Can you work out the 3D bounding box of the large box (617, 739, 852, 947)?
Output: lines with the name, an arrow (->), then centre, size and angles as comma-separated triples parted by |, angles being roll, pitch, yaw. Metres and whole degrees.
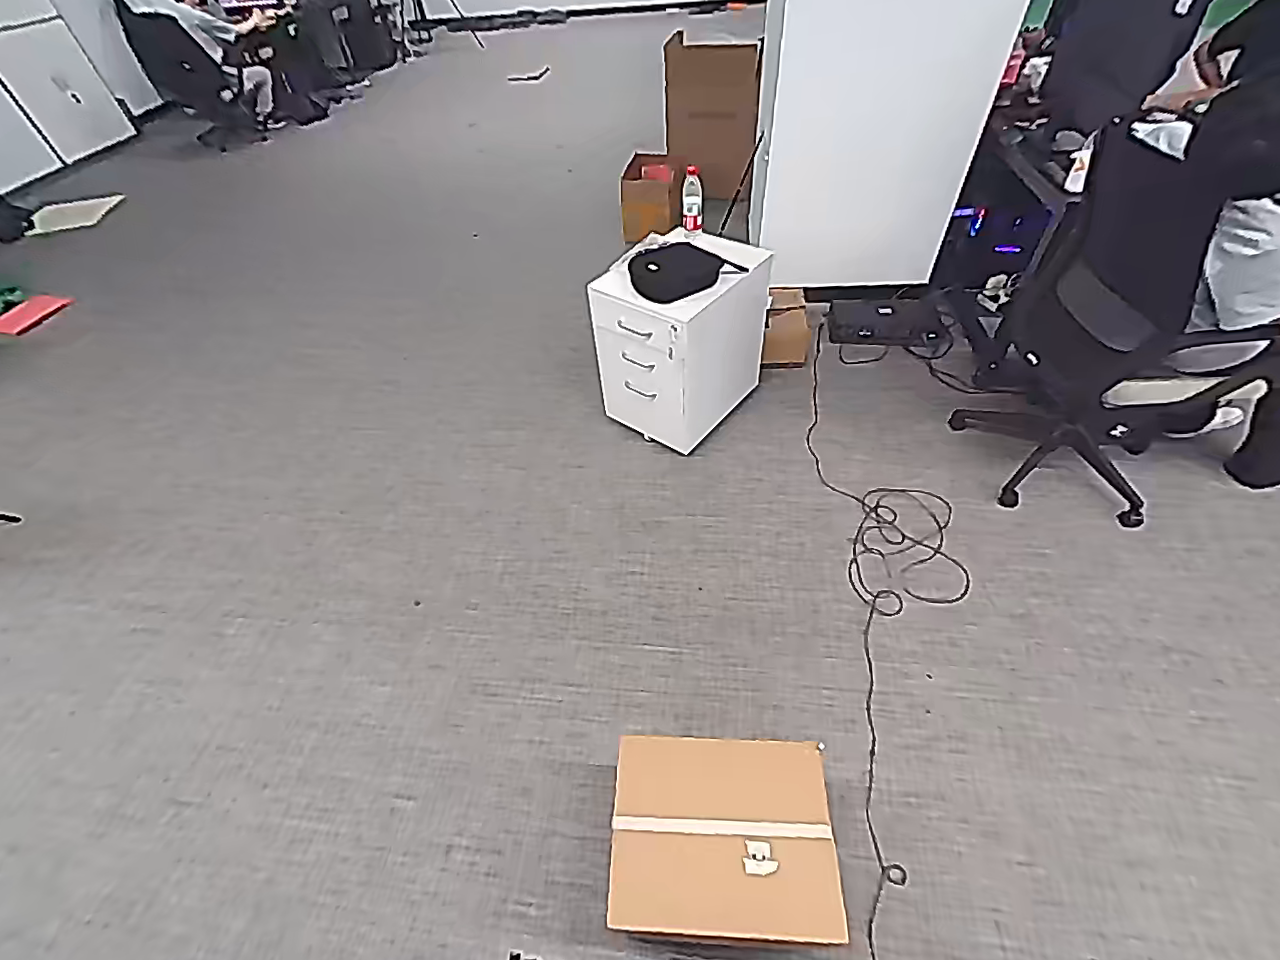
large box -> 0.168, 0.751, 1.118 | 0.408, 0.320, 0.320 | 0, 48, 4
